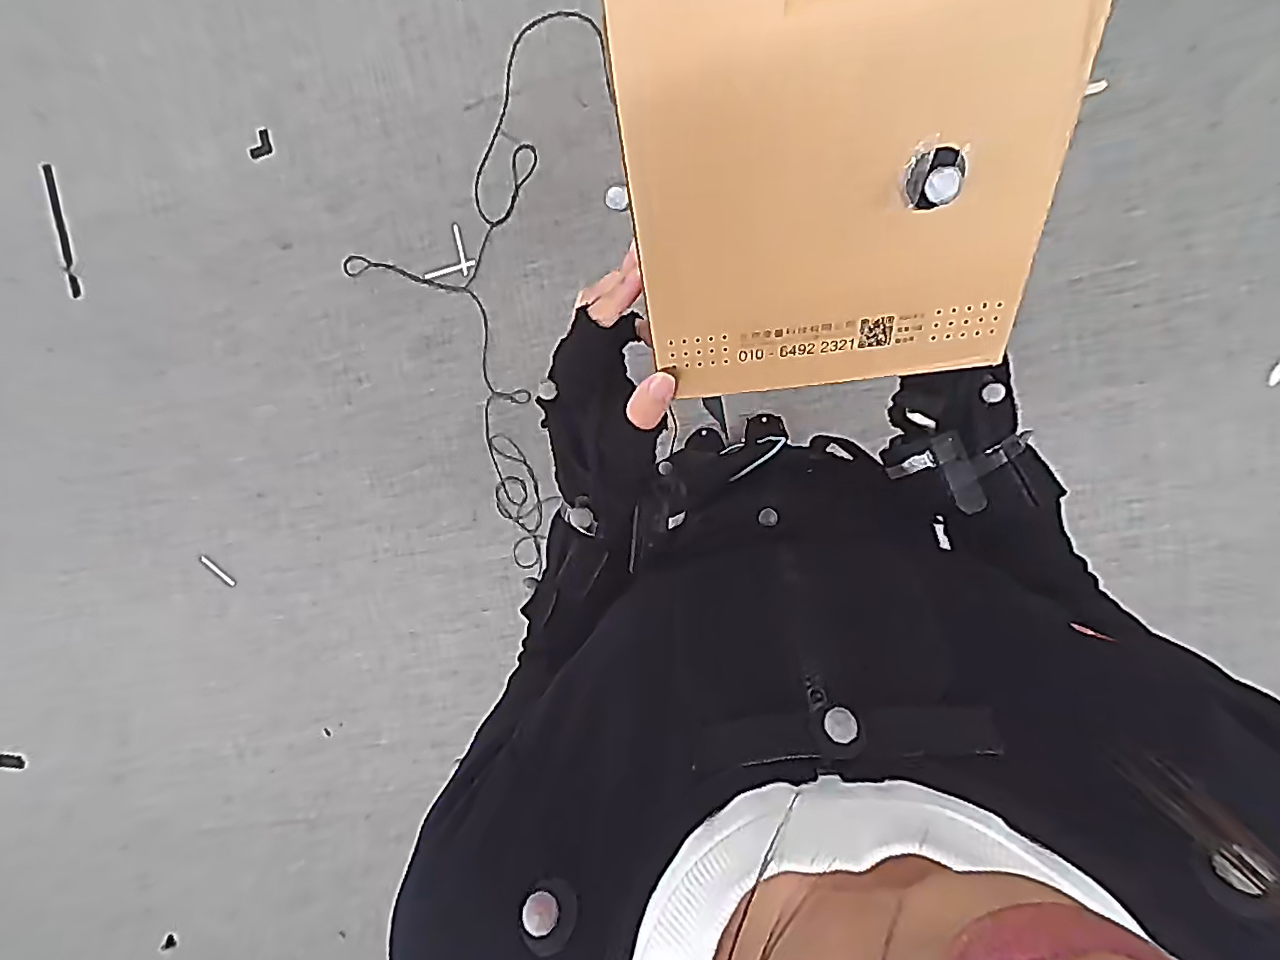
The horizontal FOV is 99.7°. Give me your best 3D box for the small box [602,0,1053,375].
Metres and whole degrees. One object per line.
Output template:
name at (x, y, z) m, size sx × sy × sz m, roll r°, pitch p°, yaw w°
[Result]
small box at (0.084, -0.169, 0.298) m, size 0.168 × 0.179 × 0.176 m, roll -4°, pitch 130°, yaw 8°
